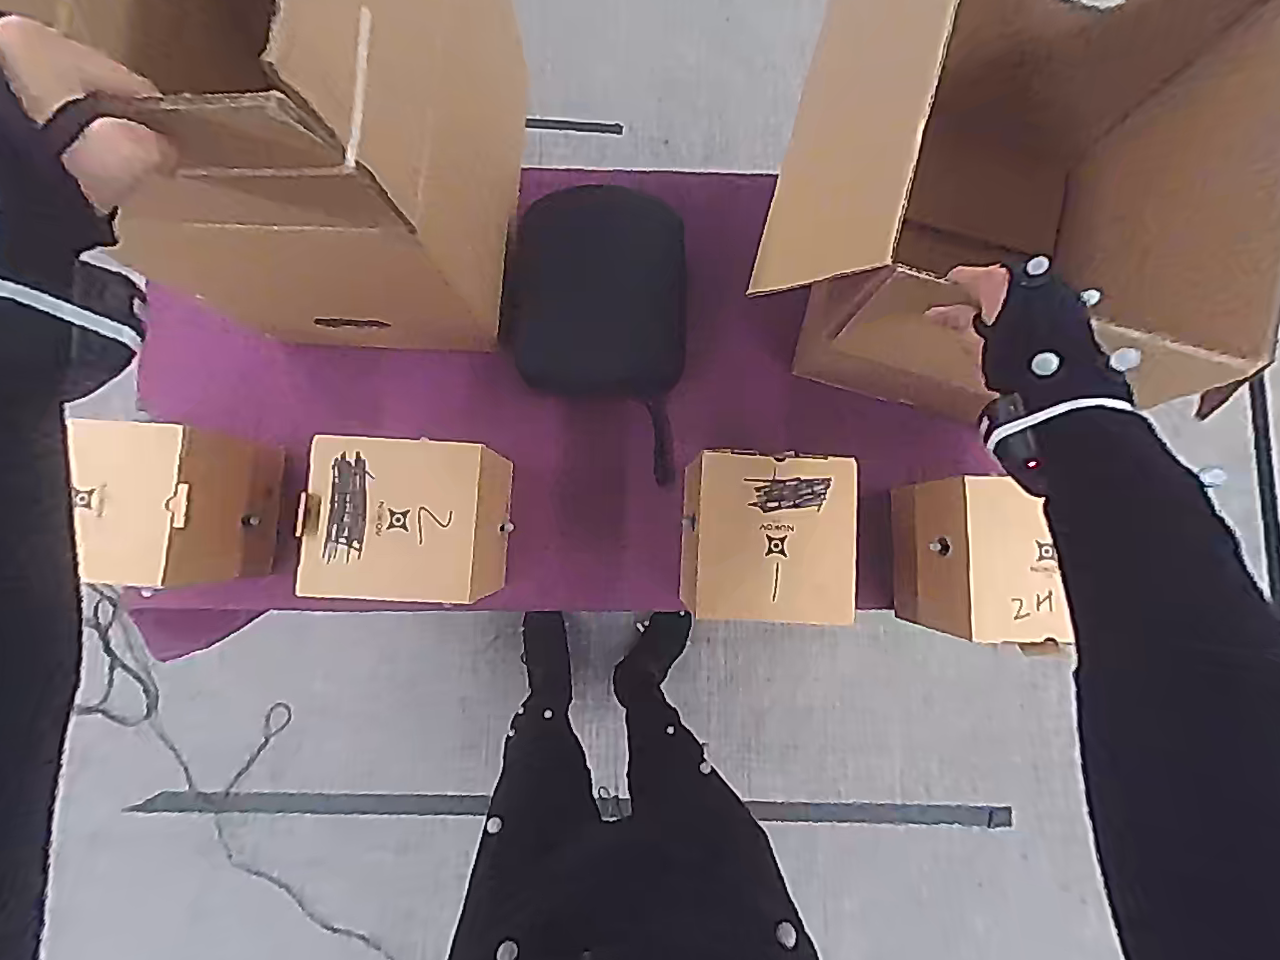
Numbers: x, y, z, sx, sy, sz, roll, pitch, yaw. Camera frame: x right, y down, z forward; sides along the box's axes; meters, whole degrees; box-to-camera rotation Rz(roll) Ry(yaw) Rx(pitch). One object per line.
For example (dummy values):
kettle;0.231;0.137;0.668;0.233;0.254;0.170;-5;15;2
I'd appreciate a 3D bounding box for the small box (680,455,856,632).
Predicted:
small box;0.138;0.072;0.637;0.168;0.176;0.179;3;85;-1

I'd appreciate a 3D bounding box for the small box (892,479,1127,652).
small box;0.417;0.097;0.640;0.168;0.176;0.179;1;84;0

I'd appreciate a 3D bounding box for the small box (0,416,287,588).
small box;-0.554;0.030;0.623;0.179;0.176;0.168;4;84;-3
